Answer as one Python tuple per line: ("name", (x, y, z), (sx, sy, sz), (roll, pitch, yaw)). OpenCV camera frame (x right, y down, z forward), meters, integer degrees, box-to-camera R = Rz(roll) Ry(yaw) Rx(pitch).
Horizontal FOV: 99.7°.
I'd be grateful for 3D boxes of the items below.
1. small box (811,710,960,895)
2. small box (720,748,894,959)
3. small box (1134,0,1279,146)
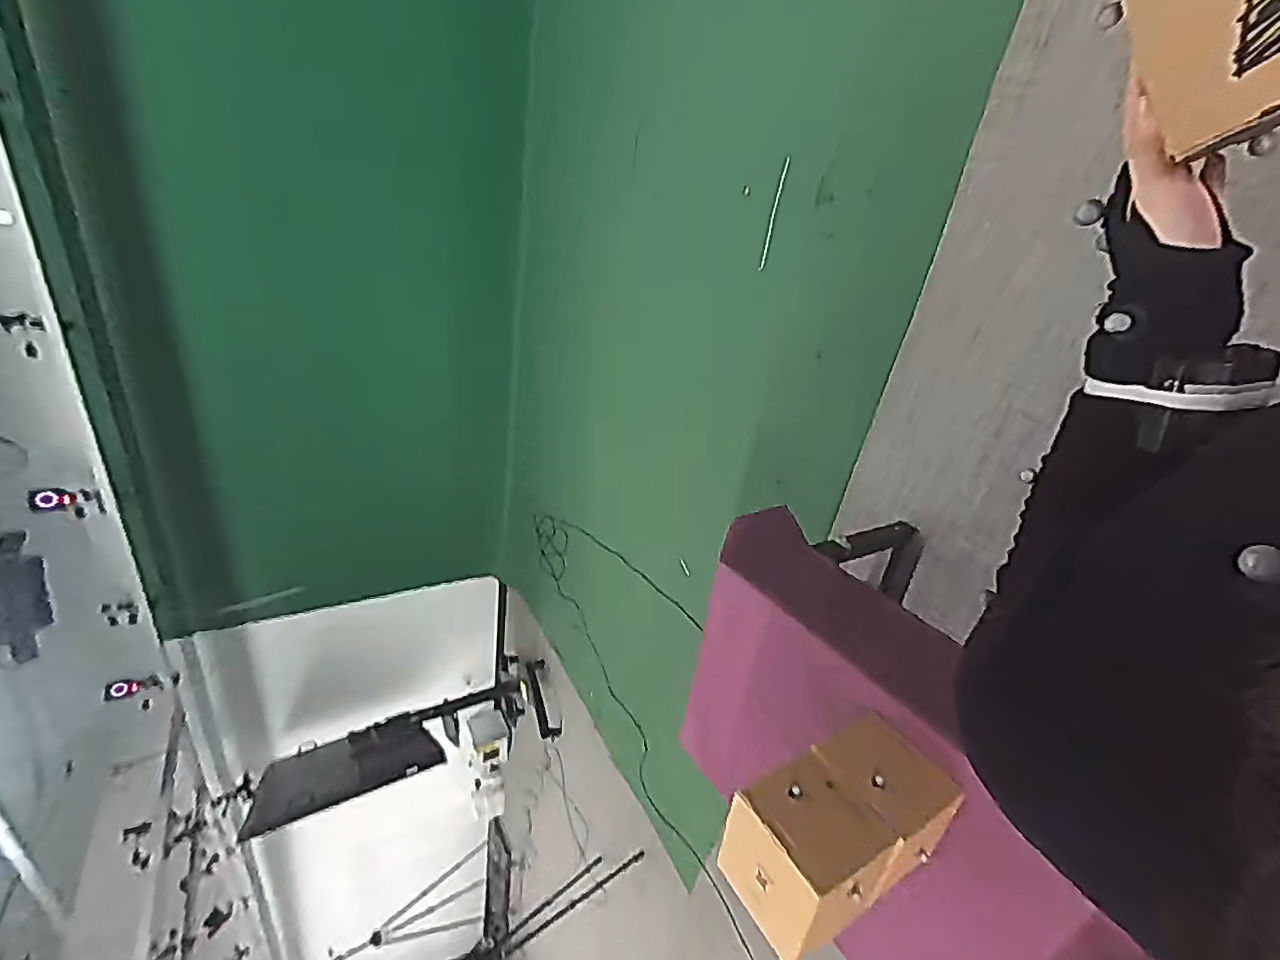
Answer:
("small box", (0.388, 0.521, 0.900), (0.179, 0.176, 0.168), (40, 129, 47))
("small box", (0.250, 0.547, 0.817), (0.168, 0.176, 0.179), (38, 128, 49))
("small box", (0.346, -0.292, 0.253), (0.168, 0.176, 0.179), (-15, 99, 50))
